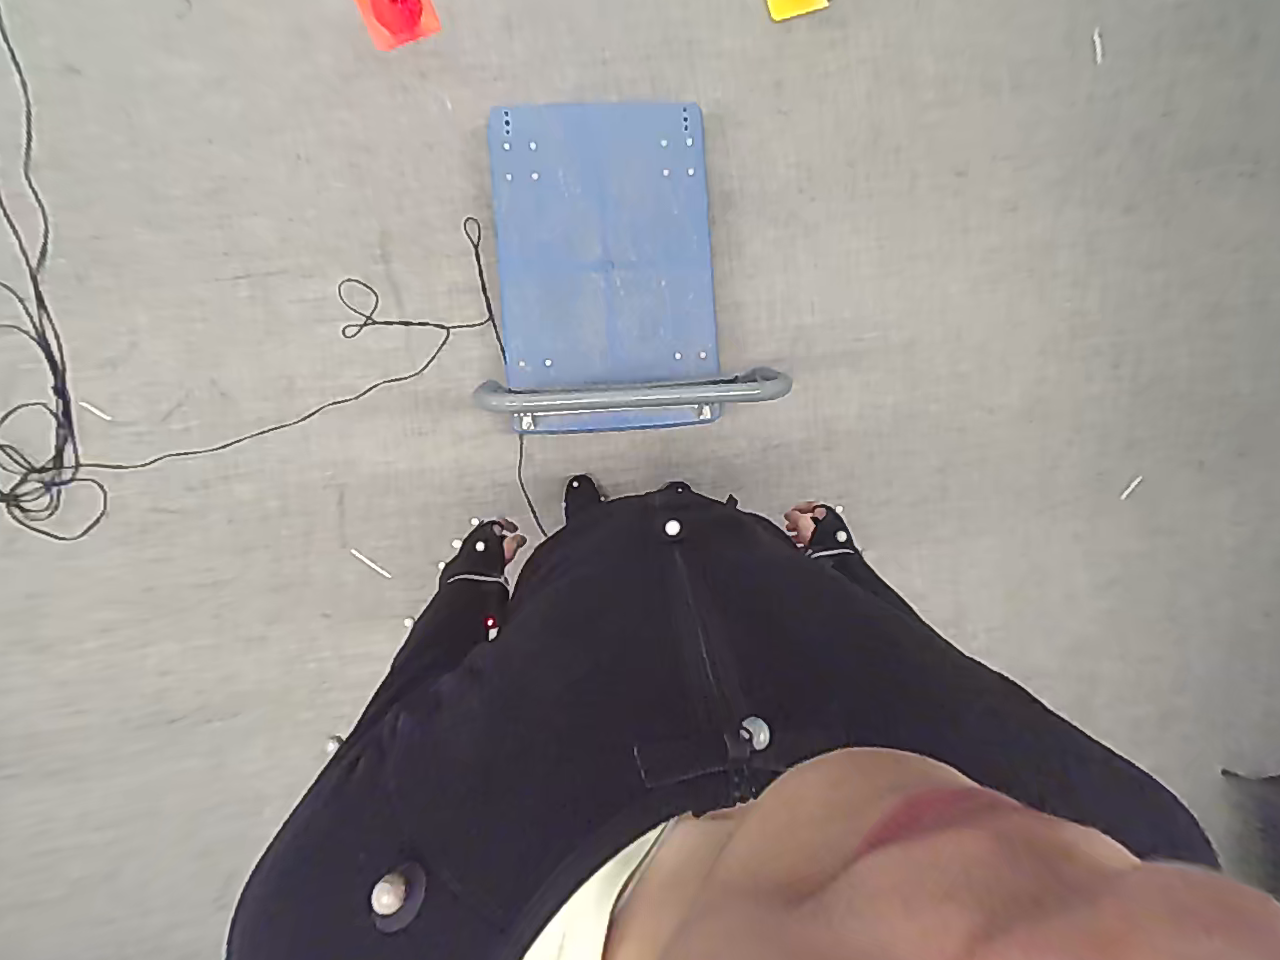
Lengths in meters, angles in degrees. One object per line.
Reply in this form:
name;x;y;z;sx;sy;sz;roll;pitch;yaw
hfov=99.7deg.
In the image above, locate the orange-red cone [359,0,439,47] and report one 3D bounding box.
orange-red cone;-0.696;-1.374;1.400;0.199;0.360;0.198;-22;91;-2
